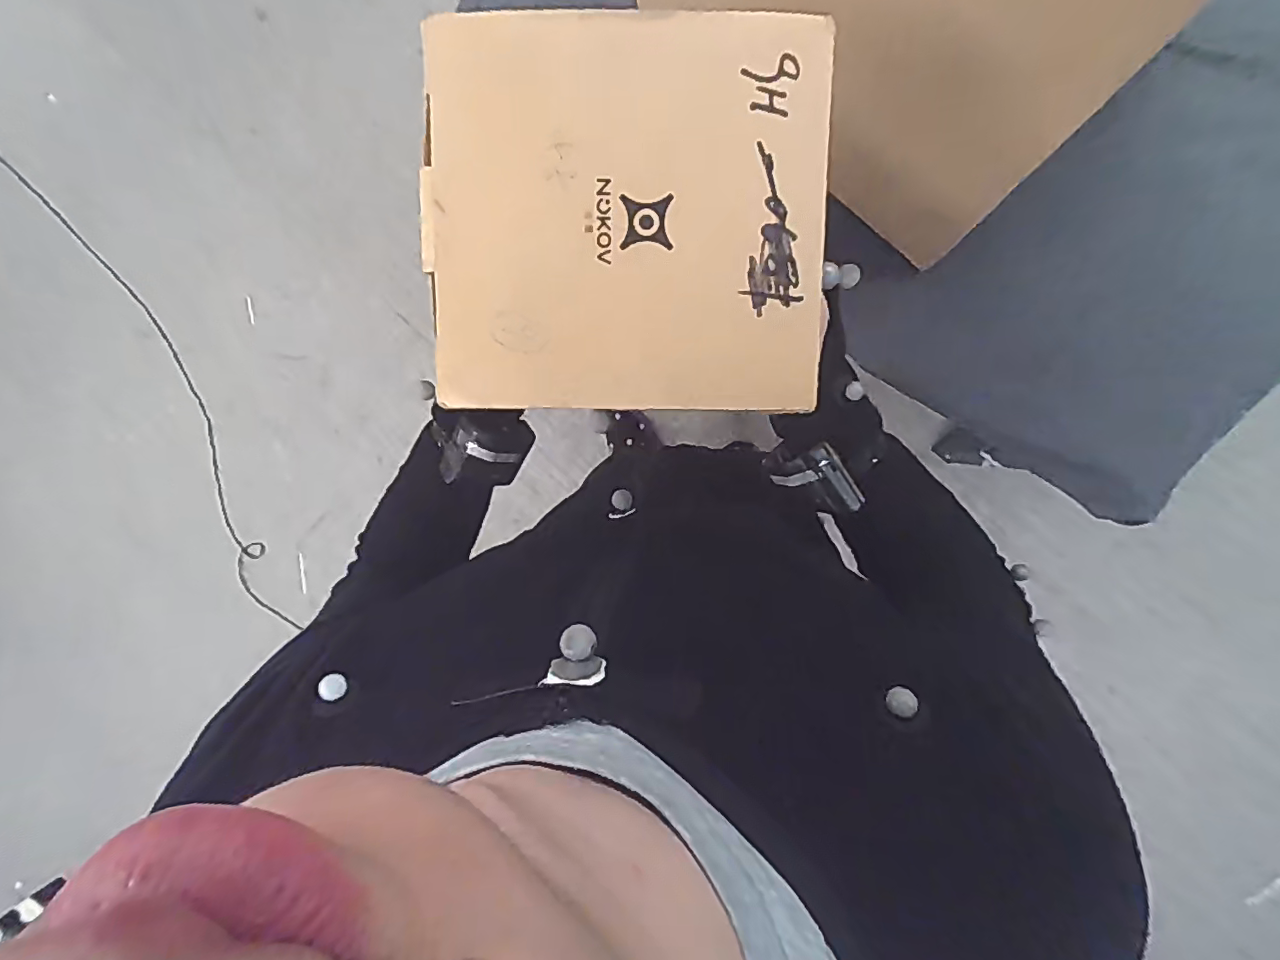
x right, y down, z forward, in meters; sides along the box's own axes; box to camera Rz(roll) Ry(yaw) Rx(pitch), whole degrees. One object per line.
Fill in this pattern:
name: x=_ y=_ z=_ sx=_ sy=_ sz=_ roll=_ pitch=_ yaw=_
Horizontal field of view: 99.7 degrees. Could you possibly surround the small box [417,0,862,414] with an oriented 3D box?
small box: x=-0.001 y=-0.122 z=0.297 sx=0.179 sy=0.176 sz=0.168 roll=0 pitch=97 yaw=0
